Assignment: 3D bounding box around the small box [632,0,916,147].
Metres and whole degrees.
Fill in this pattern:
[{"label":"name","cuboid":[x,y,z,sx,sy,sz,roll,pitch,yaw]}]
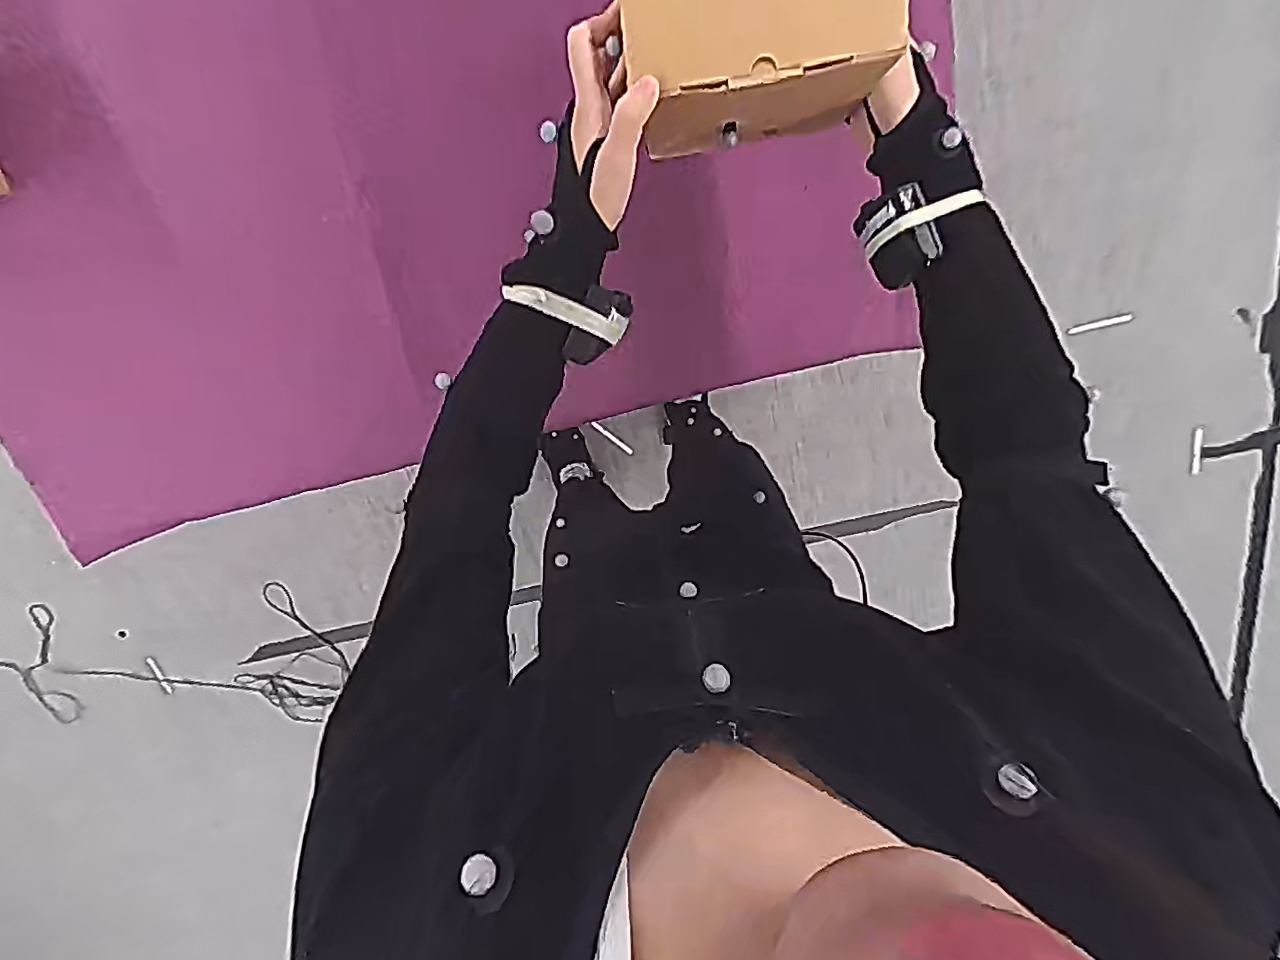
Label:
[{"label":"small box","cuboid":[0.075,-0.359,0.374,0.168,0.176,0.179,-6,110,6]}]
